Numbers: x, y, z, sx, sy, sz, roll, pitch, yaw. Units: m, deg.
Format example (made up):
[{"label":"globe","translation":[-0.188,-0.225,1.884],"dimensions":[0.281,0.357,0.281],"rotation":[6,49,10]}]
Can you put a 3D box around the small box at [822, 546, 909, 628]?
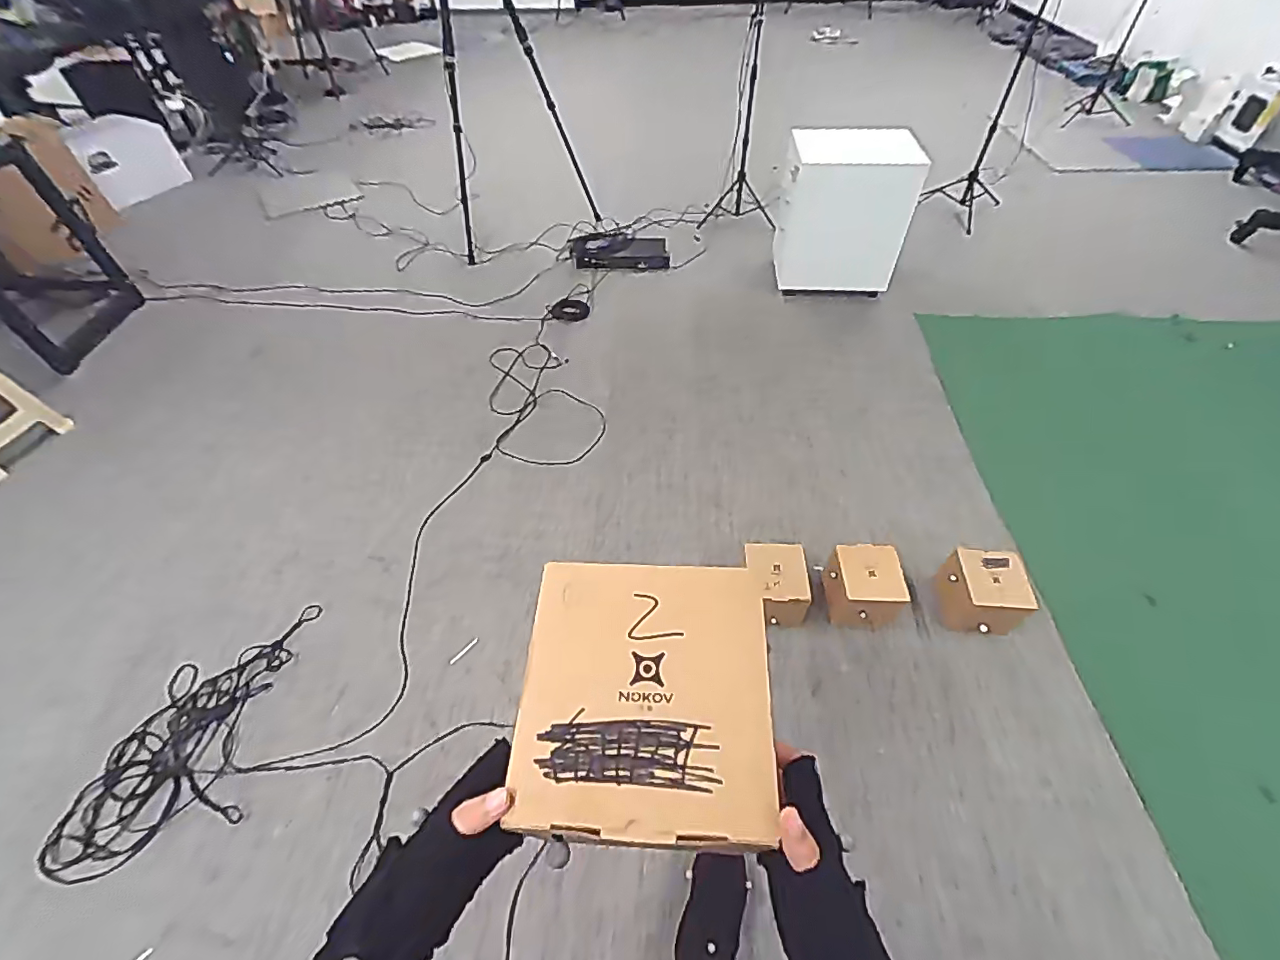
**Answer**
[{"label":"small box","translation":[0.630,0.305,1.533],"dimensions":[0.168,0.176,0.179],"rotation":[1,49,2]}]

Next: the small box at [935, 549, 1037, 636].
[{"label":"small box","translation":[0.955,0.316,1.515],"dimensions":[0.168,0.176,0.179],"rotation":[4,51,5]}]

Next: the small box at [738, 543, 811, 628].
[{"label":"small box","translation":[0.375,0.300,1.538],"dimensions":[0.168,0.176,0.179],"rotation":[1,50,3]}]
